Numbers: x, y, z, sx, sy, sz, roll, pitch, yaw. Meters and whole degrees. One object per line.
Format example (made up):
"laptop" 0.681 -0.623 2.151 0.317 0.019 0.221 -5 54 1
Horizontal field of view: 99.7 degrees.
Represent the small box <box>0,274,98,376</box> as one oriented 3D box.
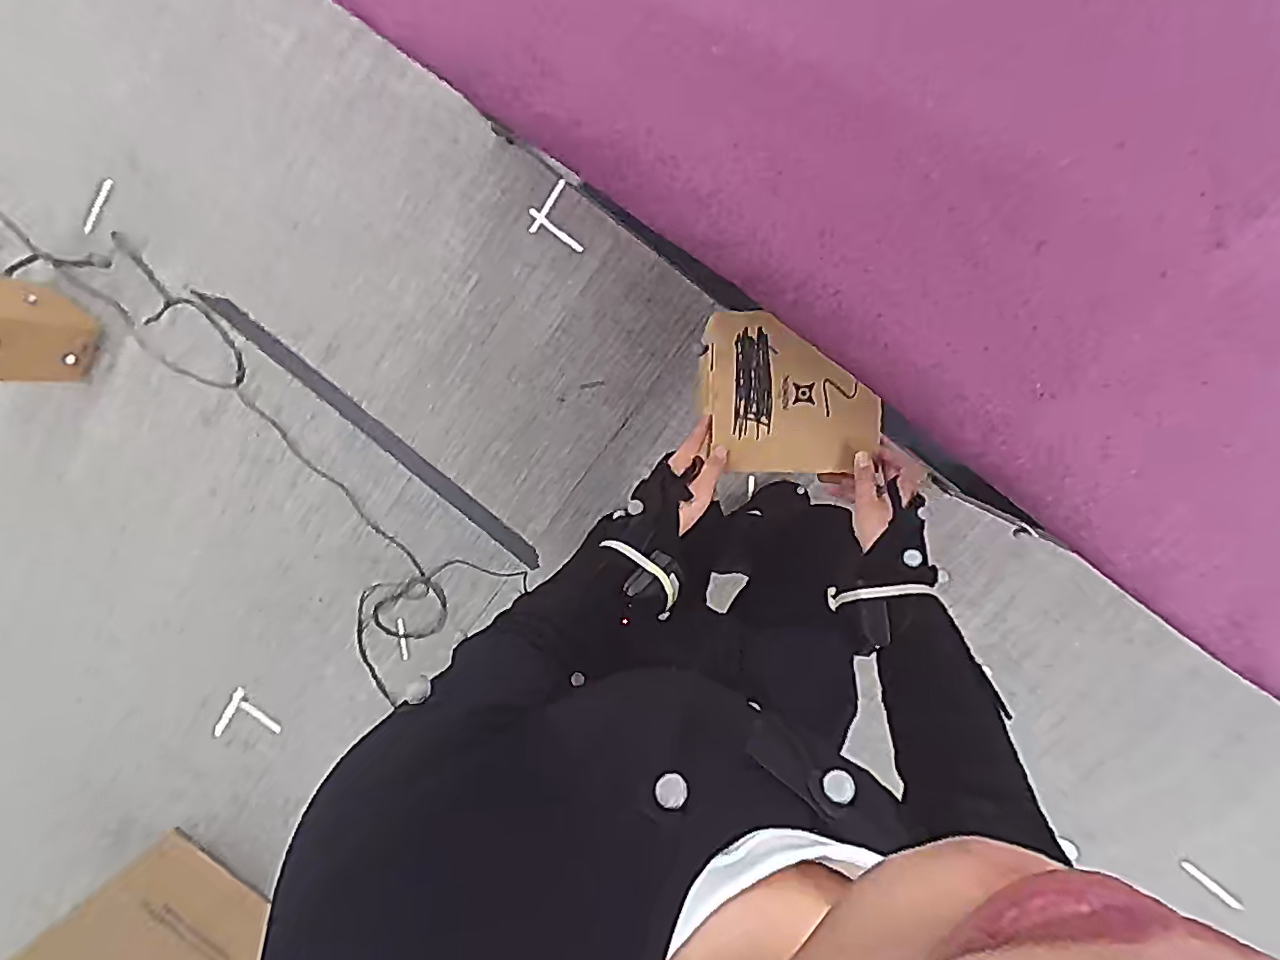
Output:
"small box" -1.402 -0.346 1.215 0.179 0.176 0.168 38 103 -1
